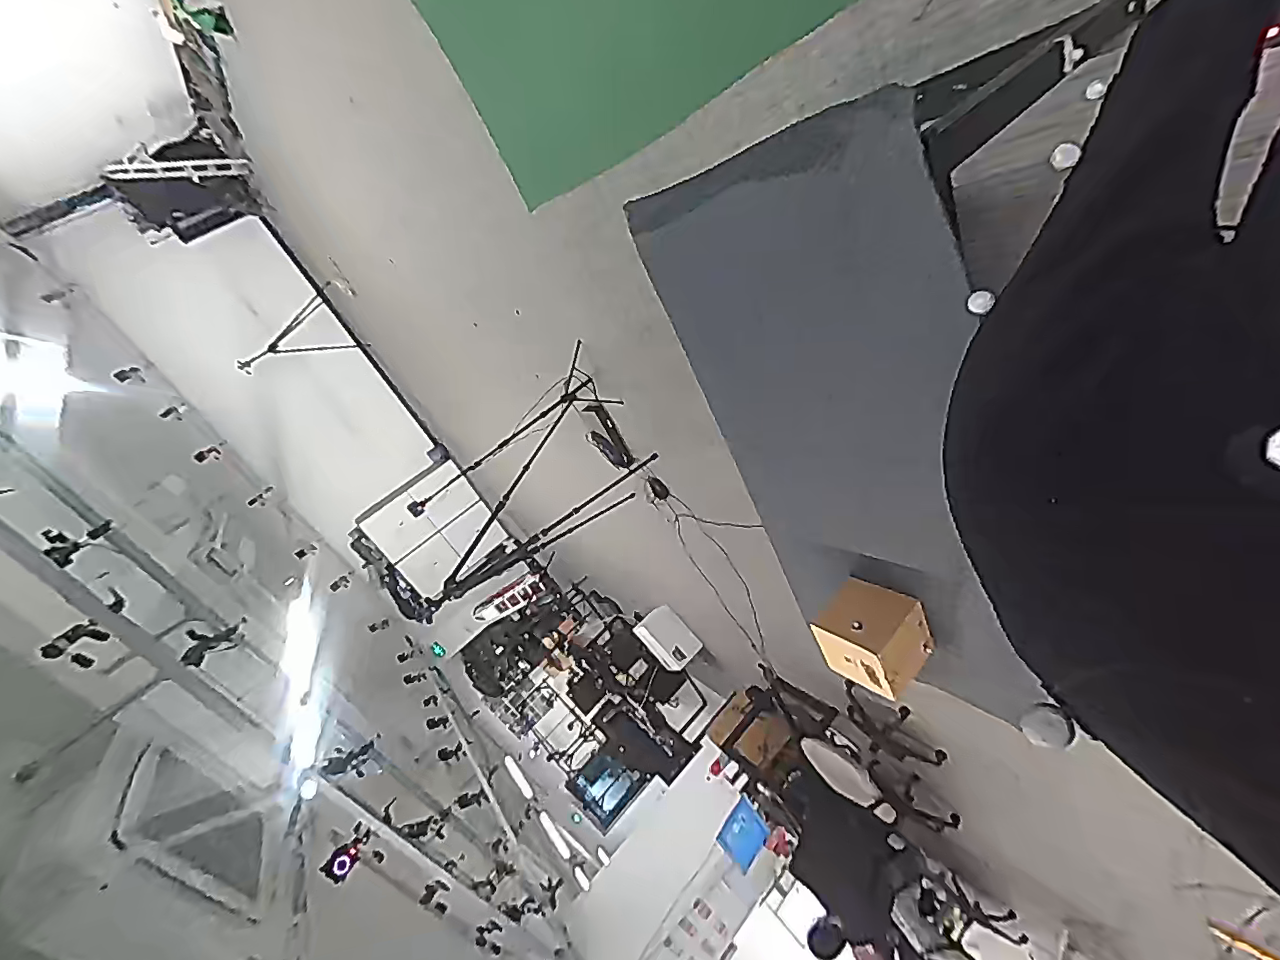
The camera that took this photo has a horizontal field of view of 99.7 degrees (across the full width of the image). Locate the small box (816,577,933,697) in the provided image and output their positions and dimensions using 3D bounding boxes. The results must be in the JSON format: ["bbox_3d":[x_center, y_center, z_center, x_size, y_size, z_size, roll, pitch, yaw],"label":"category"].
[{"bbox_3d":[0.544,0.350,1.239,0.179,0.176,0.168,16,141,56],"label":"small box"}]
